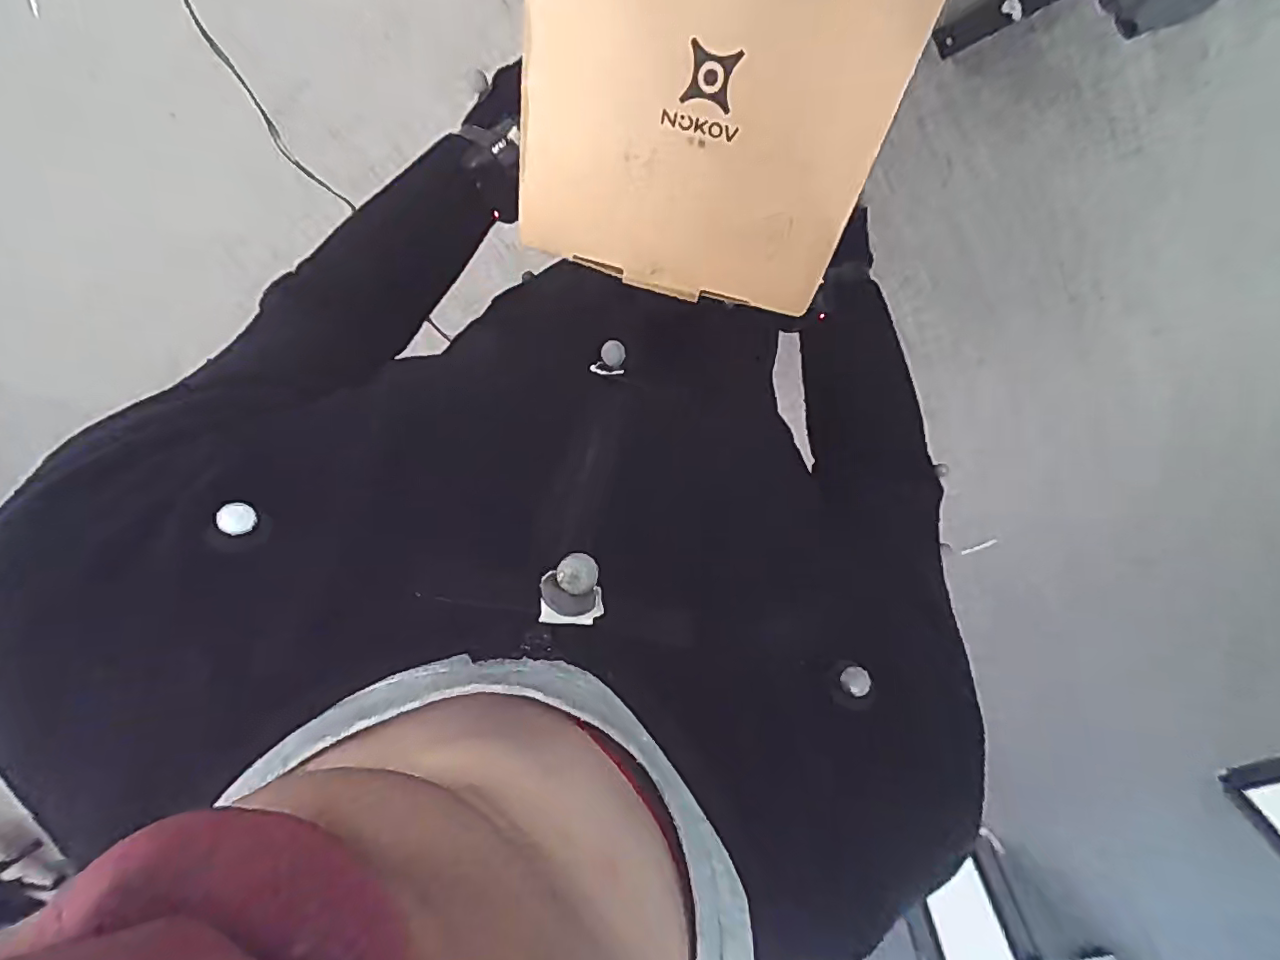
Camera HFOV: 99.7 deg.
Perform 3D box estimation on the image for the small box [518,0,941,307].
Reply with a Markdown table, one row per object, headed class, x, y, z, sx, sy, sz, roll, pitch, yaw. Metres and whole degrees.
| class | x | y | z | sx | sy | sz | roll | pitch | yaw |
| --- | --- | --- | --- | --- | --- | --- | --- | --- | --- |
| small box | 0.041 | -0.229 | 0.291 | 0.168 | 0.176 | 0.179 | 13 | 136 | -1 |
